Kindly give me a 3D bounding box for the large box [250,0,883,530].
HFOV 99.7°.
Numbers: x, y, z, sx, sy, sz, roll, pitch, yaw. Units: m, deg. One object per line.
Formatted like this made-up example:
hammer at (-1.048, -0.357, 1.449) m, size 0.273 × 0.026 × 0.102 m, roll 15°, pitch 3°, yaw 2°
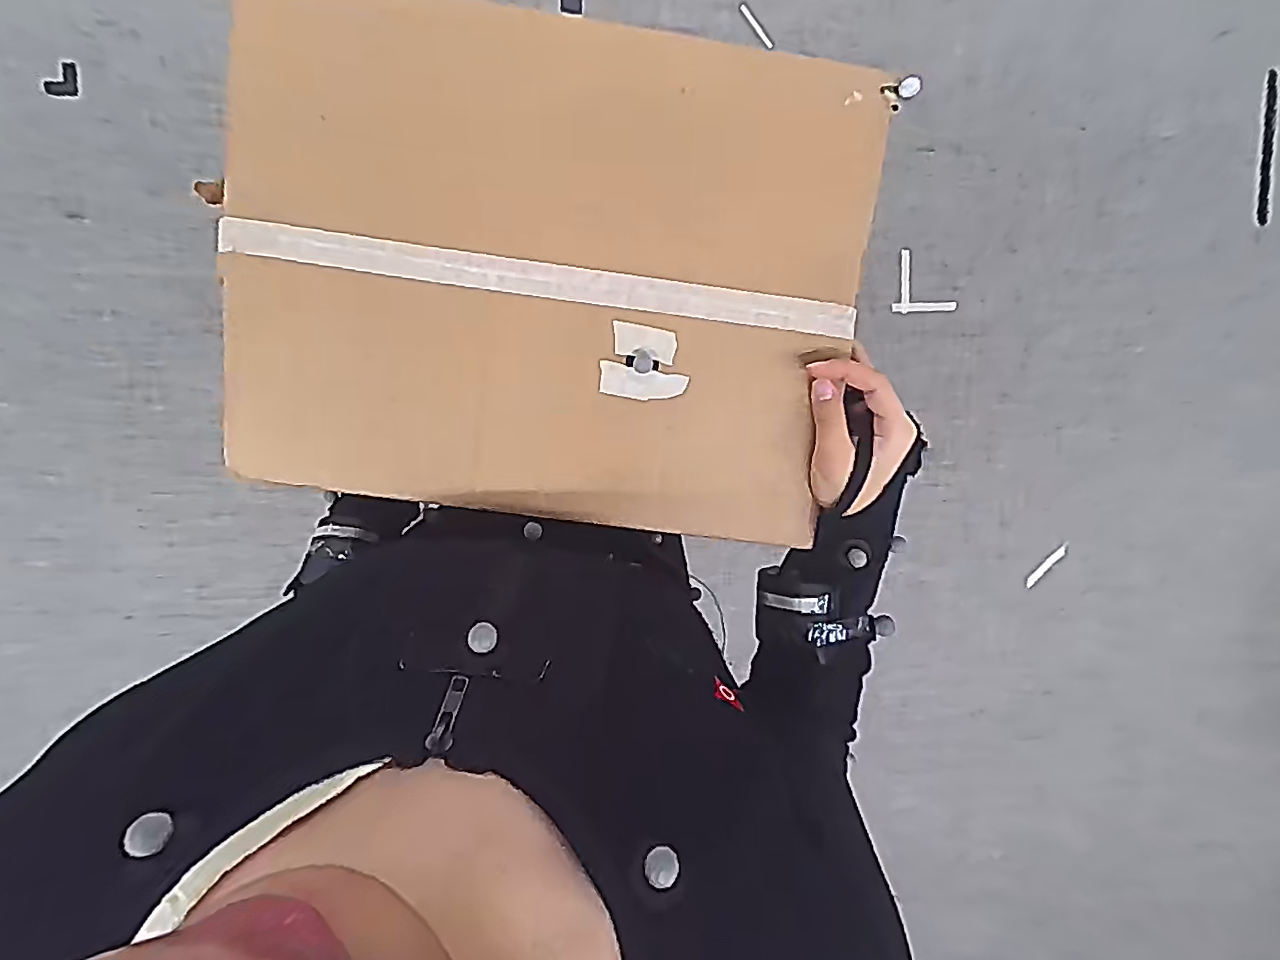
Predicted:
large box at (-0.061, -0.153, 0.508) m, size 0.408 × 0.320 × 0.320 m, roll 7°, pitch 99°, yaw -4°
